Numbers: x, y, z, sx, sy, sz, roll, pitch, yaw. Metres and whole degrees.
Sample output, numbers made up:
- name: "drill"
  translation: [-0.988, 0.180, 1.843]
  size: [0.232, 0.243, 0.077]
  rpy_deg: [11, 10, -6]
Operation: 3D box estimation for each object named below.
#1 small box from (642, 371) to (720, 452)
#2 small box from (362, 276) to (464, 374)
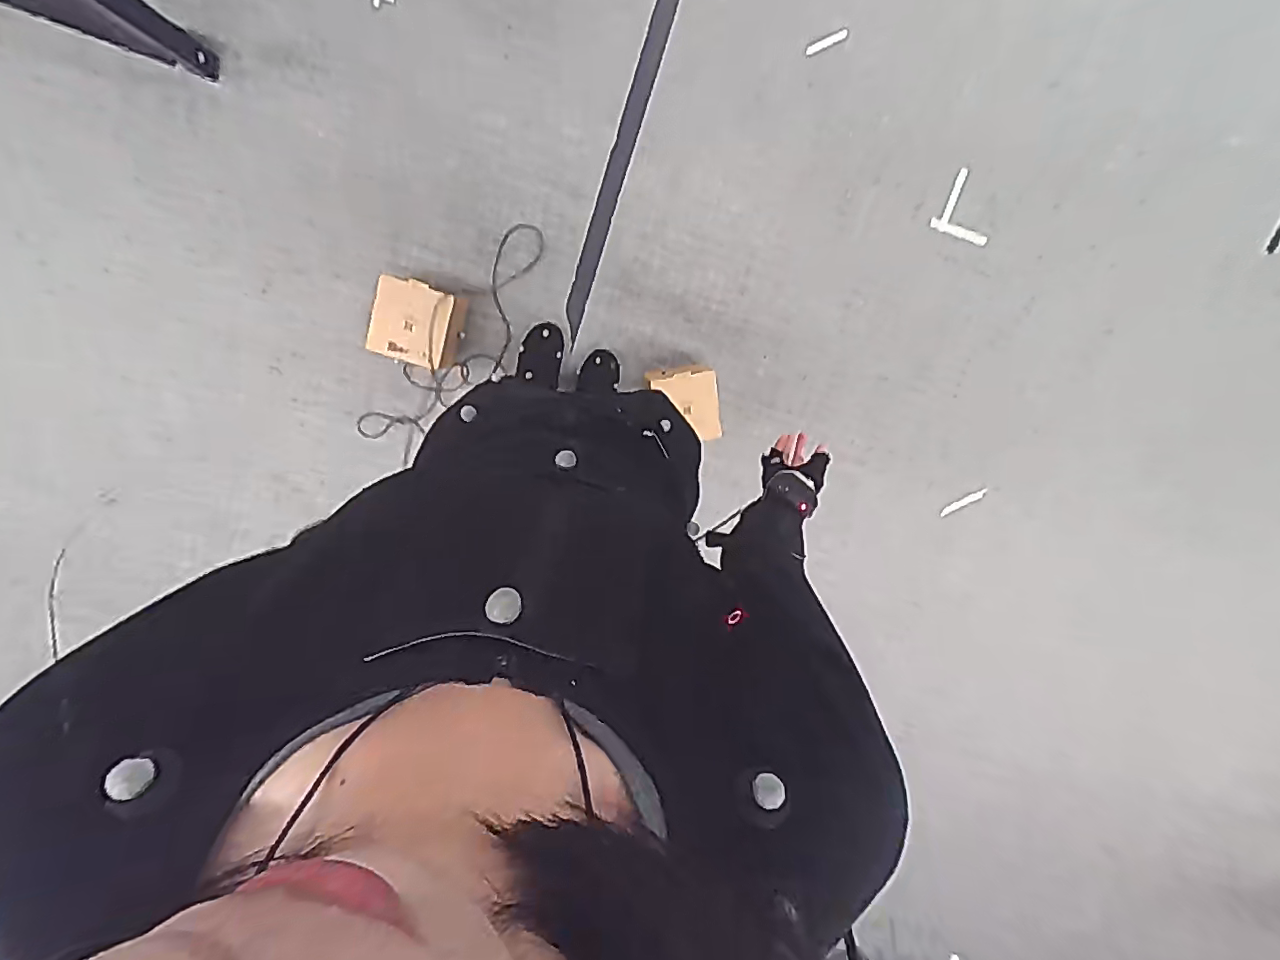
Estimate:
- name: "small box"
  translation: [0.103, -0.187, 1.418]
  size: [0.168, 0.176, 0.179]
  rpy_deg: [-10, 107, -2]
- name: "small box"
  translation: [-0.532, -0.365, 1.291]
  size: [0.168, 0.176, 0.179]
  rpy_deg: [17, 101, -10]
